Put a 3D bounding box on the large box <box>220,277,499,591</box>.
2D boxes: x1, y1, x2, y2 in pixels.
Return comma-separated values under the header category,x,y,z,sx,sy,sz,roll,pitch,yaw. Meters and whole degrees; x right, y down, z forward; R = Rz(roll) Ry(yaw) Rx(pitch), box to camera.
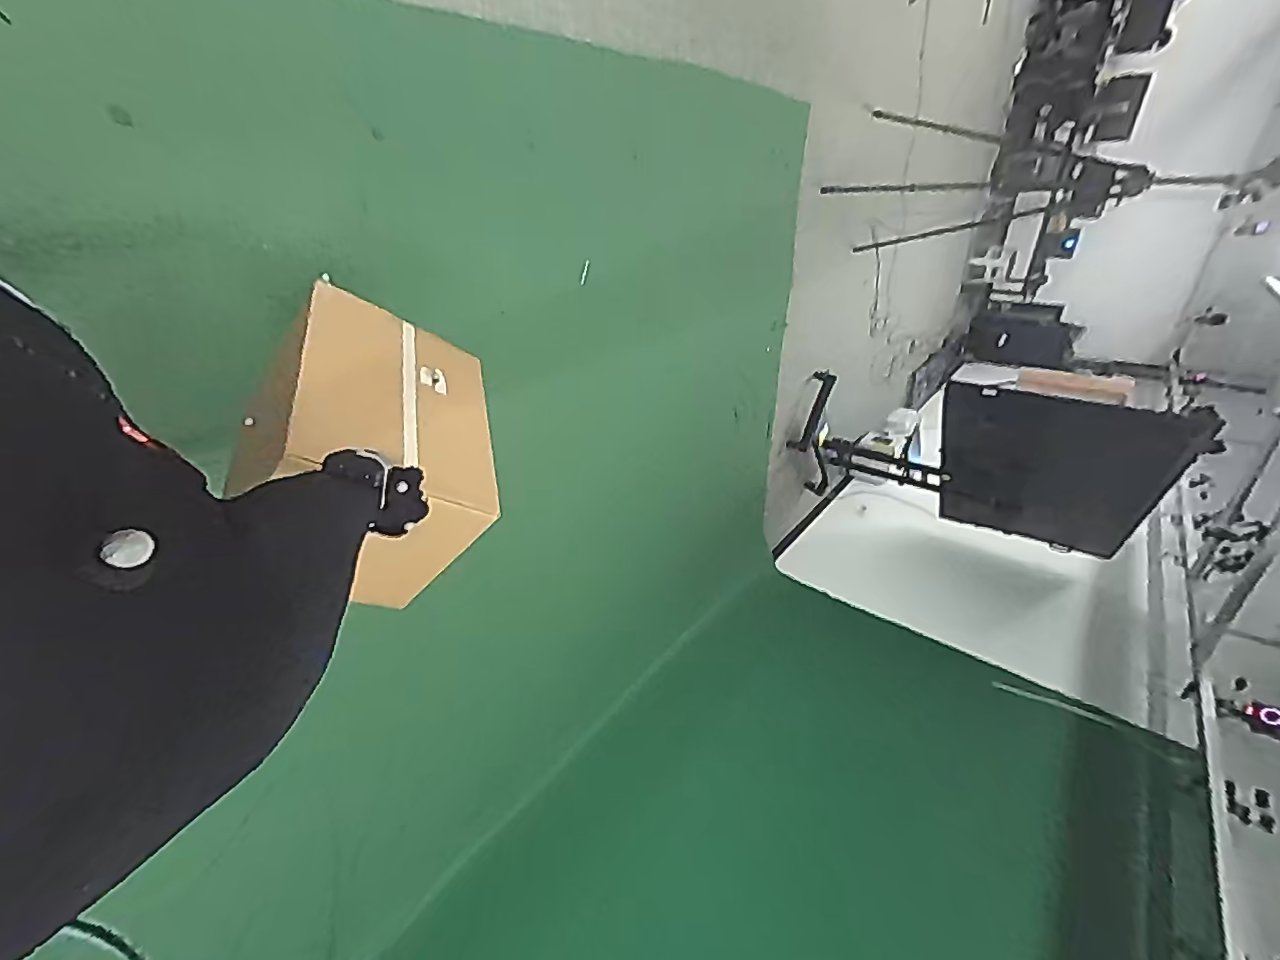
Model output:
category,x,y,z,sx,sy,sz,roll,pitch,yaw
large box,-0.489,-0.062,0.960,0.320,0.408,0.320,-40,139,26
